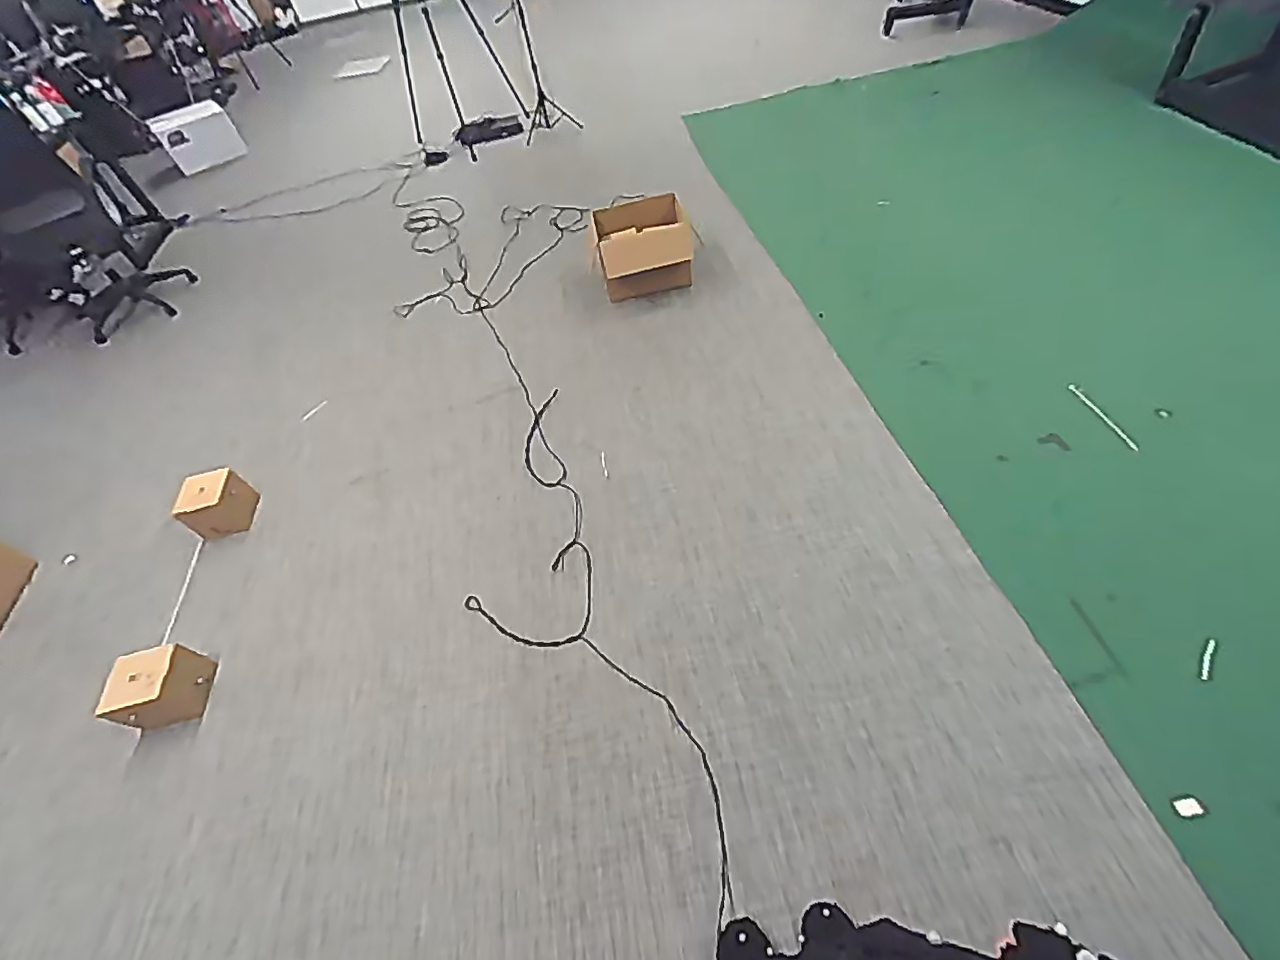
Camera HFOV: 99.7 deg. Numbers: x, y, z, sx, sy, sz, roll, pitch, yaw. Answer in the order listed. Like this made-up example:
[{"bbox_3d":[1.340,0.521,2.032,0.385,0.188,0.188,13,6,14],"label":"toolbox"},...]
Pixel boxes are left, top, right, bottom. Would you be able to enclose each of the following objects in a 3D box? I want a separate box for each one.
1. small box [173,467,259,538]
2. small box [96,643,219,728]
[{"bbox_3d":[-1.545,0.084,1.985,0.168,0.176,0.179,-14,52,-2],"label":"small box"},{"bbox_3d":[-1.381,0.598,1.561,0.179,0.176,0.168,-15,52,-2],"label":"small box"}]
